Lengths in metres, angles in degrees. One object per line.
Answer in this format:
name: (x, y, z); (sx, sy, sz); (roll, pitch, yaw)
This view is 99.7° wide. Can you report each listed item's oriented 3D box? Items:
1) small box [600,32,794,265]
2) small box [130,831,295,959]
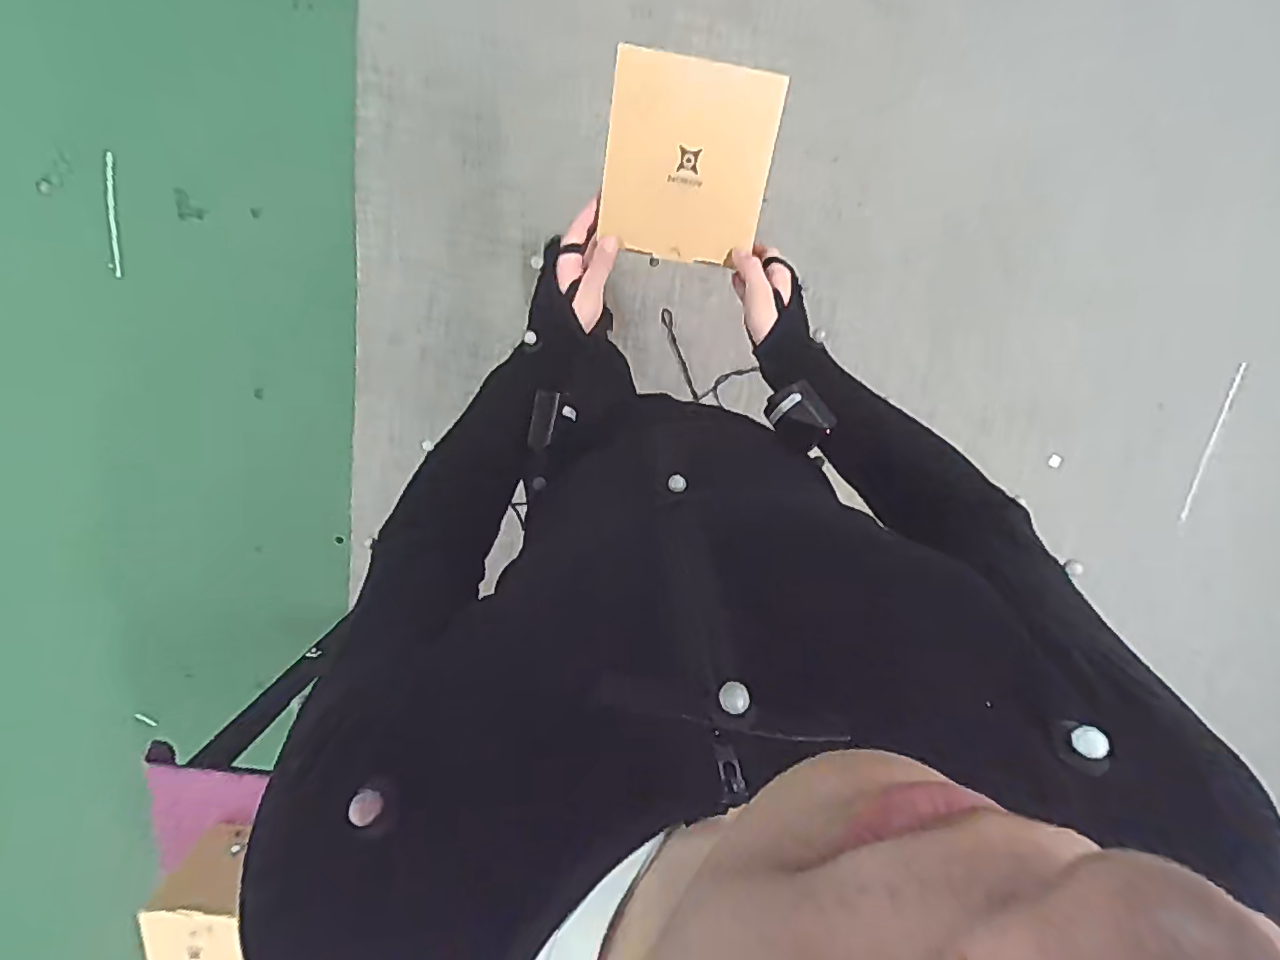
small box: (0.049, -0.348, 0.601); (0.168, 0.176, 0.179); (8, 114, -5)
small box: (-0.756, 0.782, 0.979); (0.168, 0.176, 0.179); (6, 105, -2)
